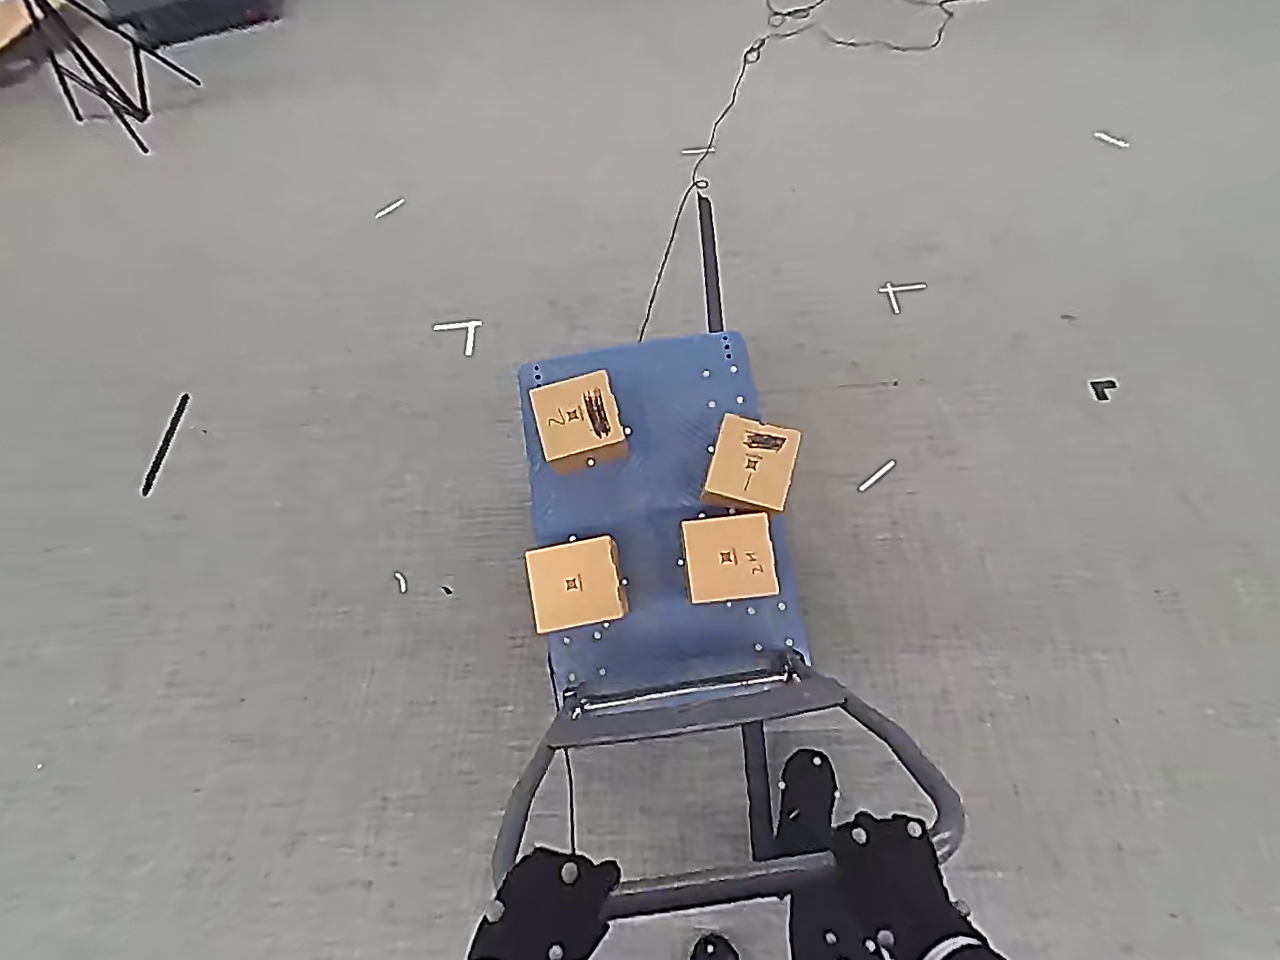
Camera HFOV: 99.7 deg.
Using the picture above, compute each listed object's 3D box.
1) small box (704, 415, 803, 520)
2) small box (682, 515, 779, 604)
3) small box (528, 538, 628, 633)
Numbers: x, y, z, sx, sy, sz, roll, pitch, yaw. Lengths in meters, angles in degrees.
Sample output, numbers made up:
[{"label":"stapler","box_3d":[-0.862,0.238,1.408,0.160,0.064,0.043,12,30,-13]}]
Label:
[{"label":"small box","box_3d":[0.241,-0.019,1.192,0.168,0.176,0.179,15,80,6]},{"label":"small box","box_3d":[0.186,0.174,1.155,0.179,0.176,0.168,-6,79,2]},{"label":"small box","box_3d":[-0.127,0.227,1.160,0.179,0.176,0.168,-11,78,-1]}]
